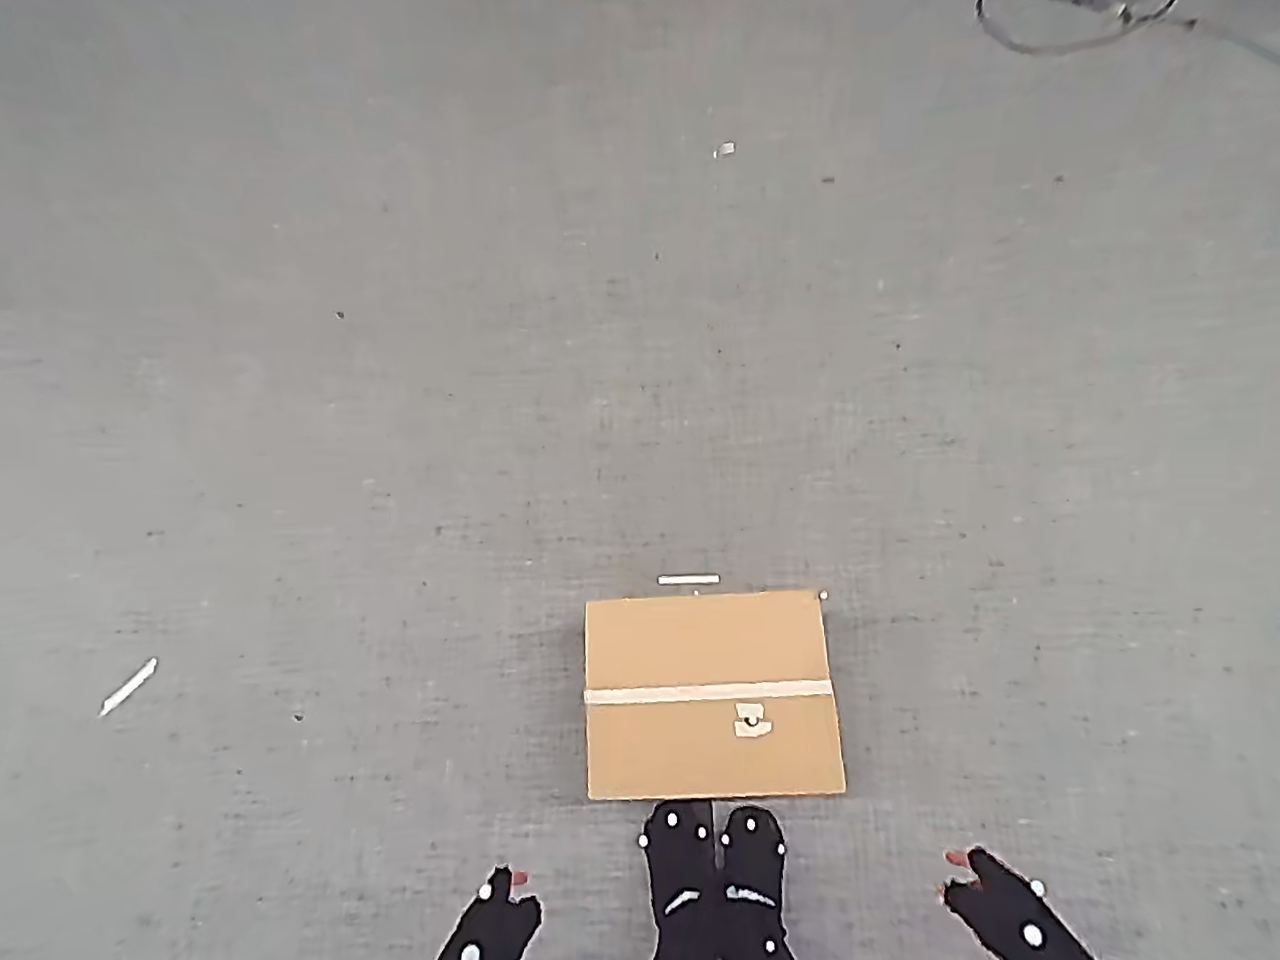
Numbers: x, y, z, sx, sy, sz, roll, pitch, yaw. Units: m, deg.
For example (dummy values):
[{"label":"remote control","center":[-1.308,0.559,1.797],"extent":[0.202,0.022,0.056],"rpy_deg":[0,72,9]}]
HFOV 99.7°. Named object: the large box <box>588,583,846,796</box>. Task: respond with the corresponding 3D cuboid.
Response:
[{"label":"large box","center":[0.123,0.381,1.033],"extent":[0.408,0.320,0.320],"rpy_deg":[-4,74,2]}]
